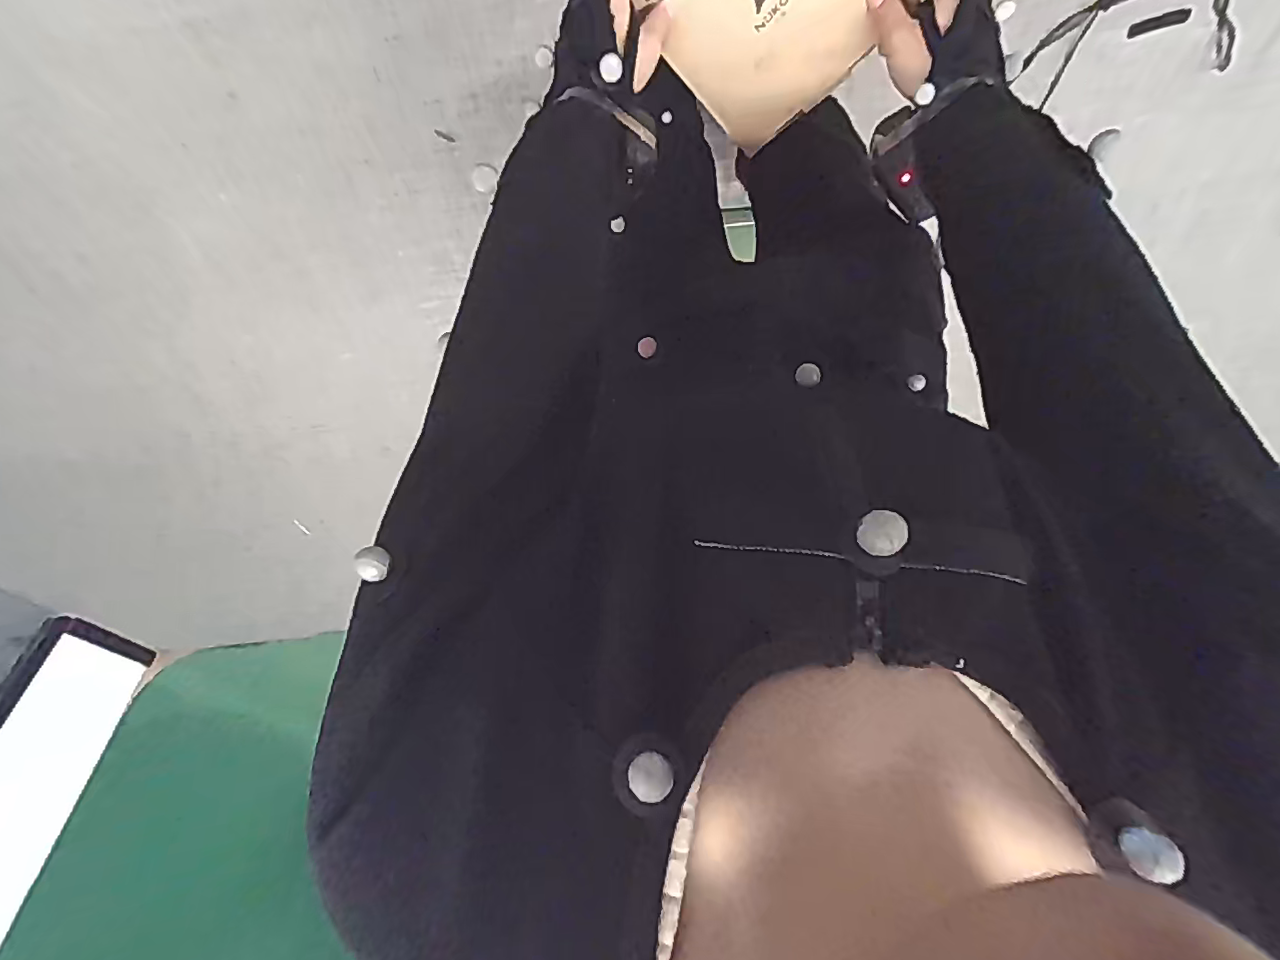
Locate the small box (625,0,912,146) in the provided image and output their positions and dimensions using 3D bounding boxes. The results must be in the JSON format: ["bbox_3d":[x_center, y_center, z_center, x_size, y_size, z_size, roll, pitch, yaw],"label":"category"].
[{"bbox_3d":[0.102,-0.447,0.459,0.179,0.176,0.168,29,141,-35],"label":"small box"}]
